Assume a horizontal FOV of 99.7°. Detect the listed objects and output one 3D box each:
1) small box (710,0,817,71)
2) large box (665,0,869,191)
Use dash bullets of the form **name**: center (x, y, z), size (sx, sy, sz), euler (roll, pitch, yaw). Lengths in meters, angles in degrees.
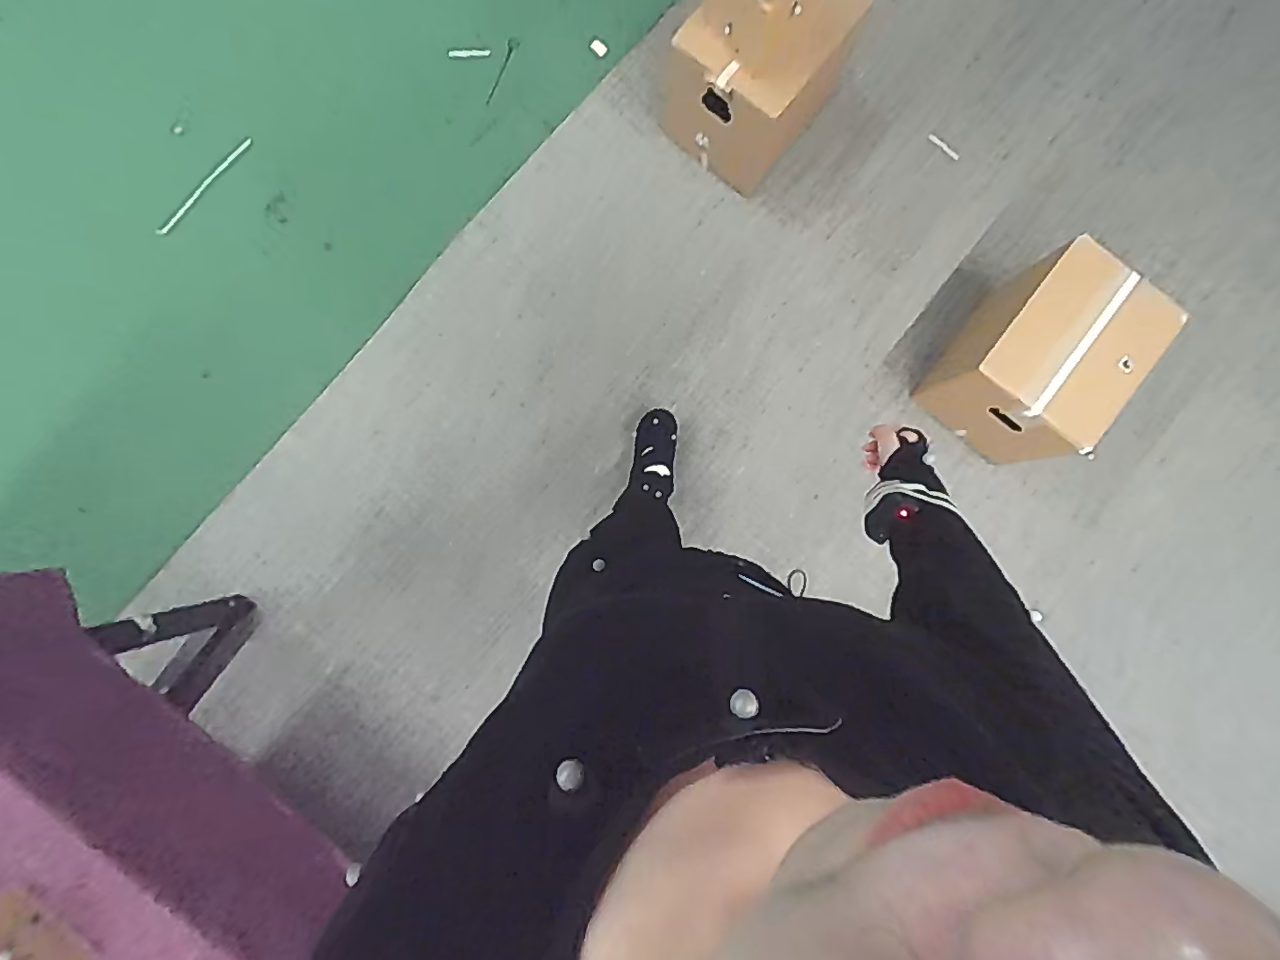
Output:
- **small box**: center (0.270, -1.049, 1.162), size (0.179, 0.176, 0.168), euler (-40, 87, -2)
- **large box**: center (0.306, -1.070, 1.407), size (0.320, 0.320, 0.408), euler (39, 86, 2)
